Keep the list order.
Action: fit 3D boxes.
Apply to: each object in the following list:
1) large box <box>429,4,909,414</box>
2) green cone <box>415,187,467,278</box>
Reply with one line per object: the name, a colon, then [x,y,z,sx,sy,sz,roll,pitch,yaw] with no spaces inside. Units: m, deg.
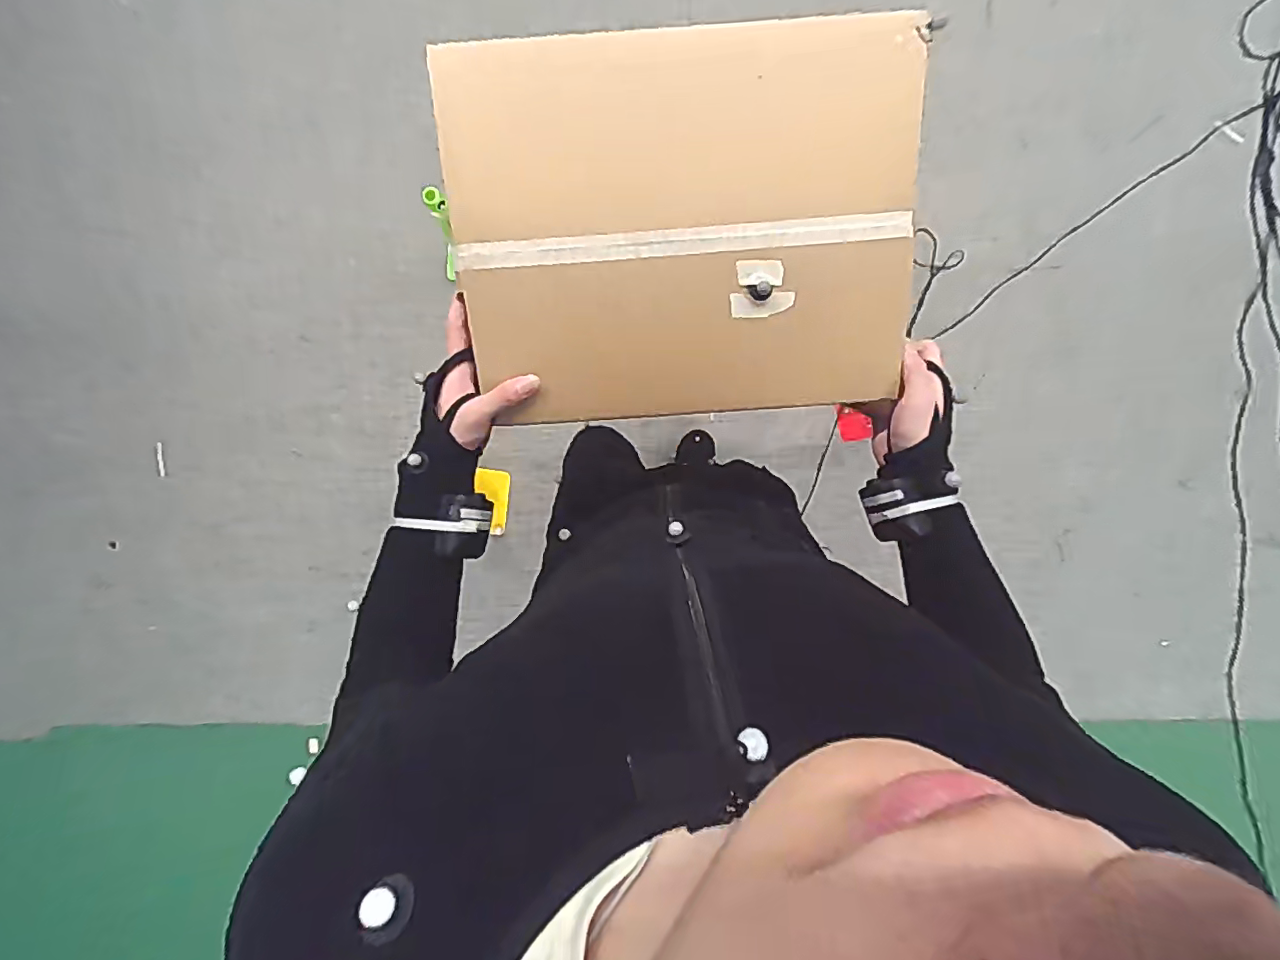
large box: [0.030,-0.272,0.628,0.408,0.320,0.320,-4,109,-1]
green cone: [-0.491,-0.677,1.415,0.200,0.368,0.202,4,96,3]
